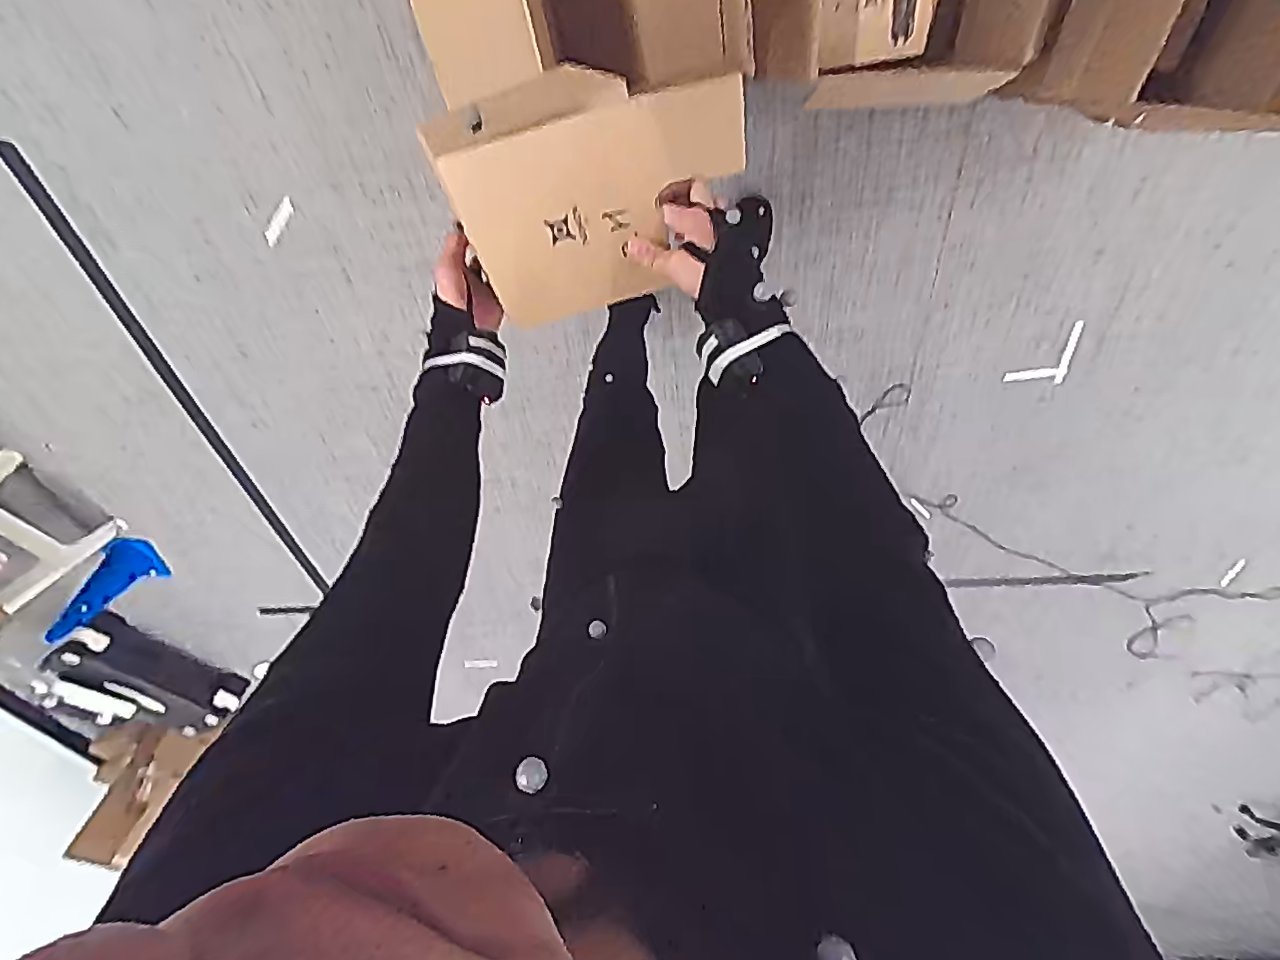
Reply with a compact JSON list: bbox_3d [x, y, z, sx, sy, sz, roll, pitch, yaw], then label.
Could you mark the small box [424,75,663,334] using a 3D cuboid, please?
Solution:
[{"bbox_3d":[-0.102,-0.284,0.552,0.179,0.176,0.168,-27,137,-6],"label":"small box"}]
